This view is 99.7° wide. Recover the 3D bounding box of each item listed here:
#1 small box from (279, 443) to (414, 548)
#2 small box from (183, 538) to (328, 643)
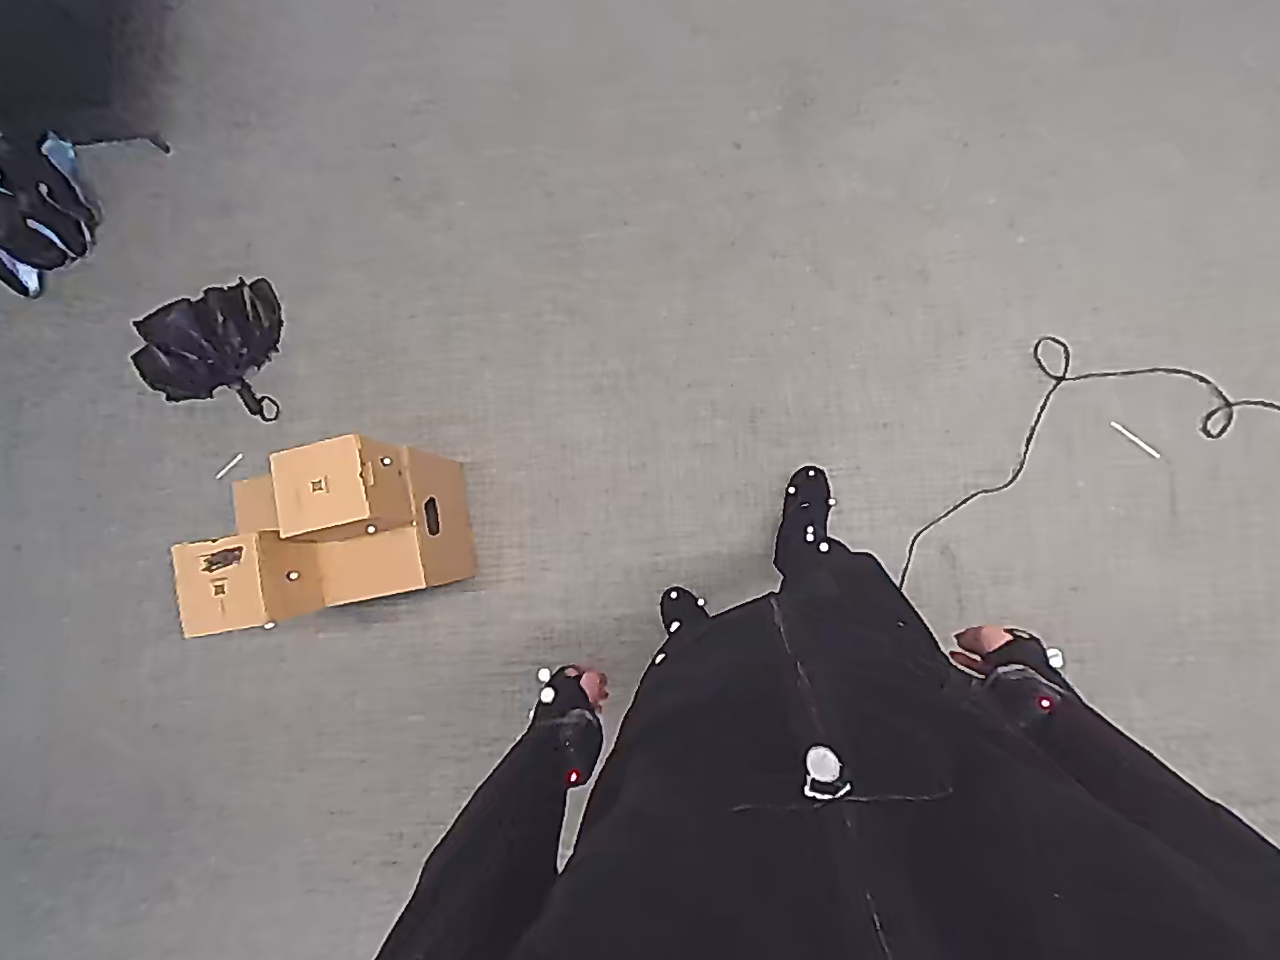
[{"bbox_3d":[-0.578,0.038,1.090,0.179,0.176,0.168,-14,80,4],"label":"small box"},{"bbox_3d":[-0.760,0.211,1.084,0.168,0.176,0.179,-10,86,3],"label":"small box"}]
